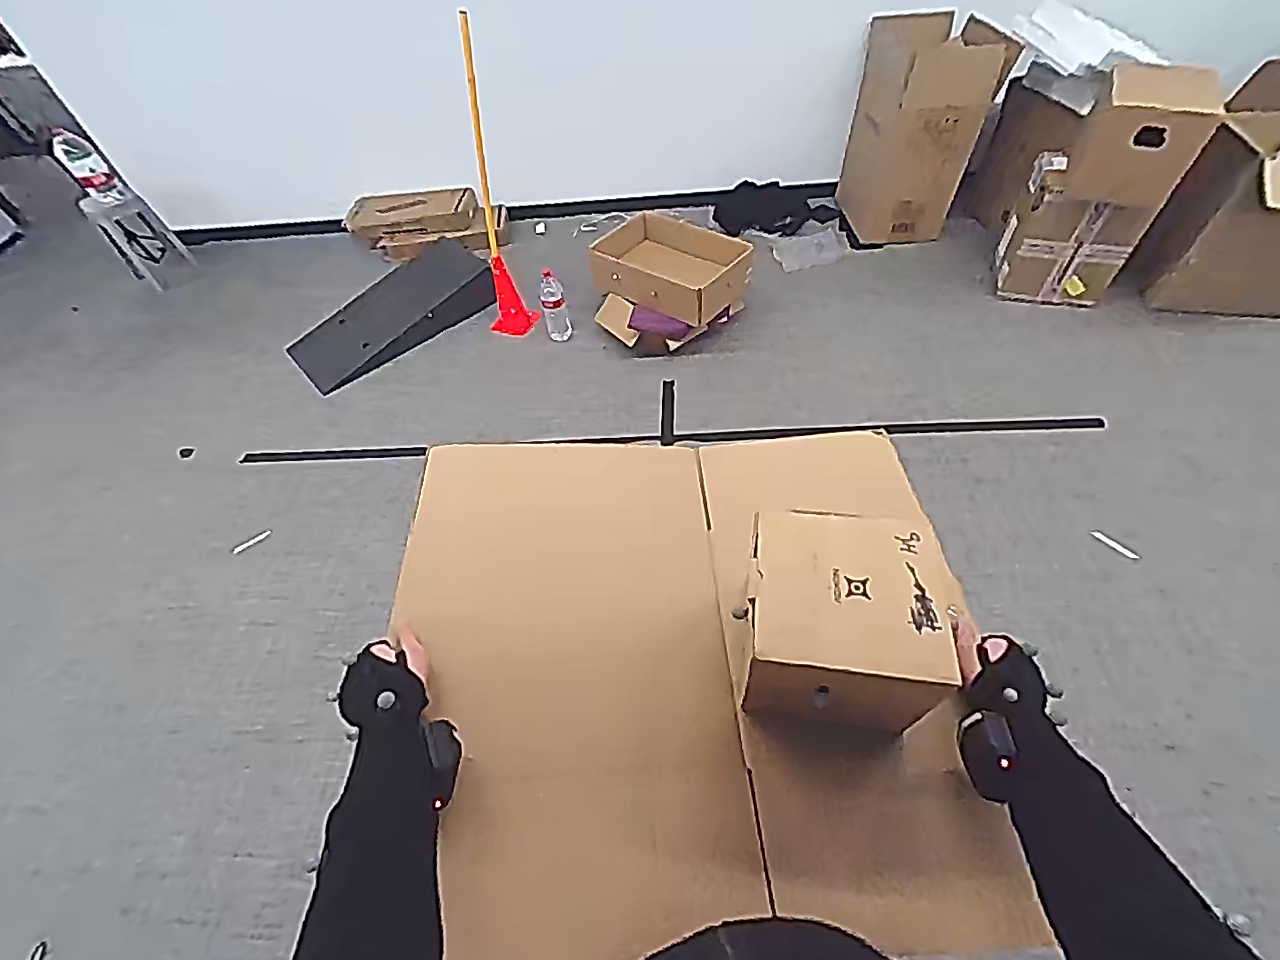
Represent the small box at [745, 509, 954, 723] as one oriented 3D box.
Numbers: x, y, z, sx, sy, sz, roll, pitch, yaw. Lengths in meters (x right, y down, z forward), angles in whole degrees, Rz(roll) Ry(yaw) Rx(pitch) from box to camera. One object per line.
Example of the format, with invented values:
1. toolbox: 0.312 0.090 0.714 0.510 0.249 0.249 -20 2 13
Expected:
1. small box: 0.207 0.150 0.586 0.179 0.176 0.168 4 54 11
